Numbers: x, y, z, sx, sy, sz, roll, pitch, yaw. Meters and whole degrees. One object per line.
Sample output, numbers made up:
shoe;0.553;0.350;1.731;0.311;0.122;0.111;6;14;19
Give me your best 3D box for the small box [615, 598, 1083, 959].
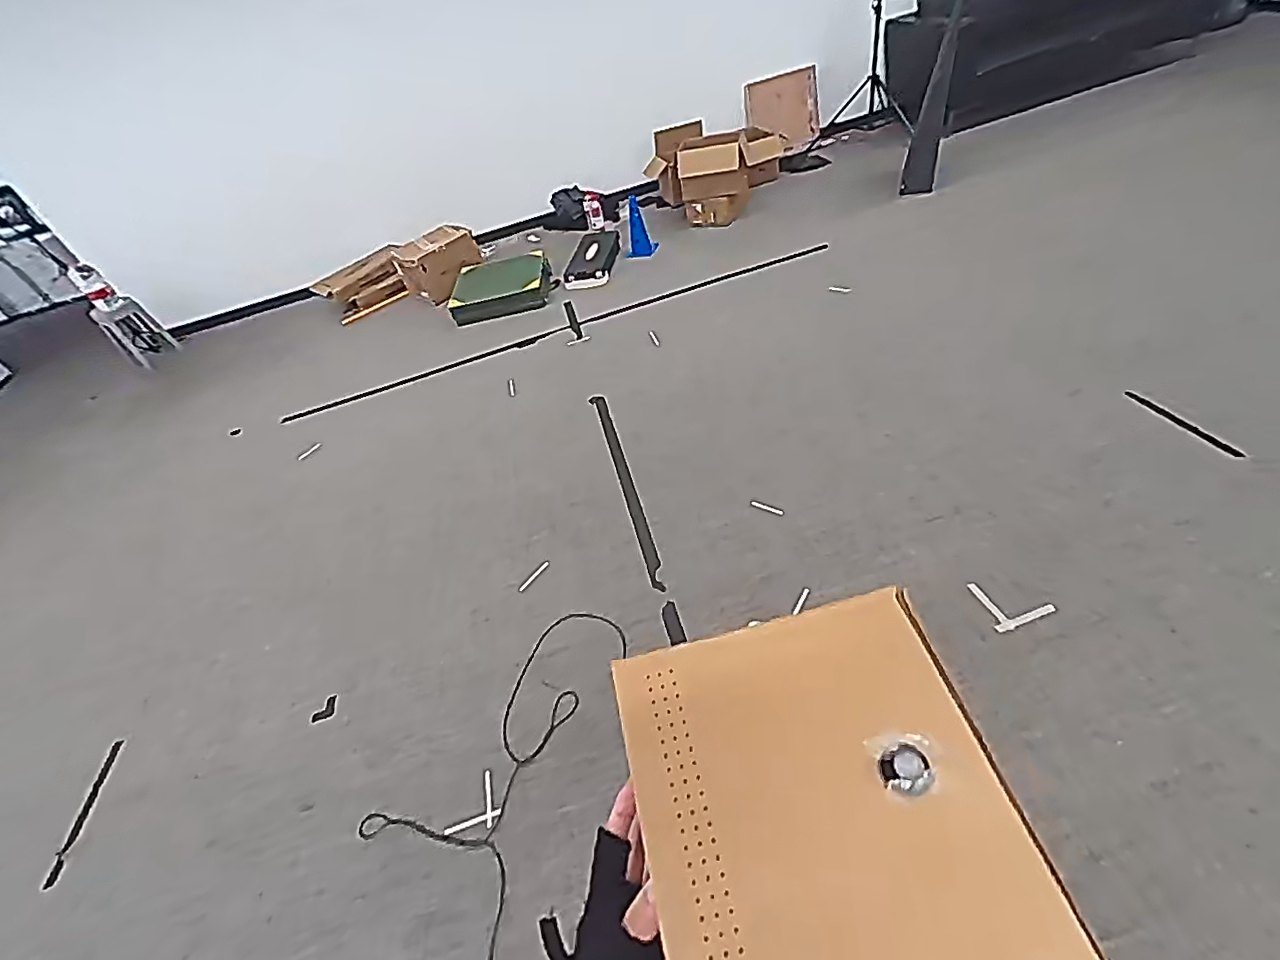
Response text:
small box;0.089;0.200;0.320;0.176;0.168;0.179;-15;54;0
